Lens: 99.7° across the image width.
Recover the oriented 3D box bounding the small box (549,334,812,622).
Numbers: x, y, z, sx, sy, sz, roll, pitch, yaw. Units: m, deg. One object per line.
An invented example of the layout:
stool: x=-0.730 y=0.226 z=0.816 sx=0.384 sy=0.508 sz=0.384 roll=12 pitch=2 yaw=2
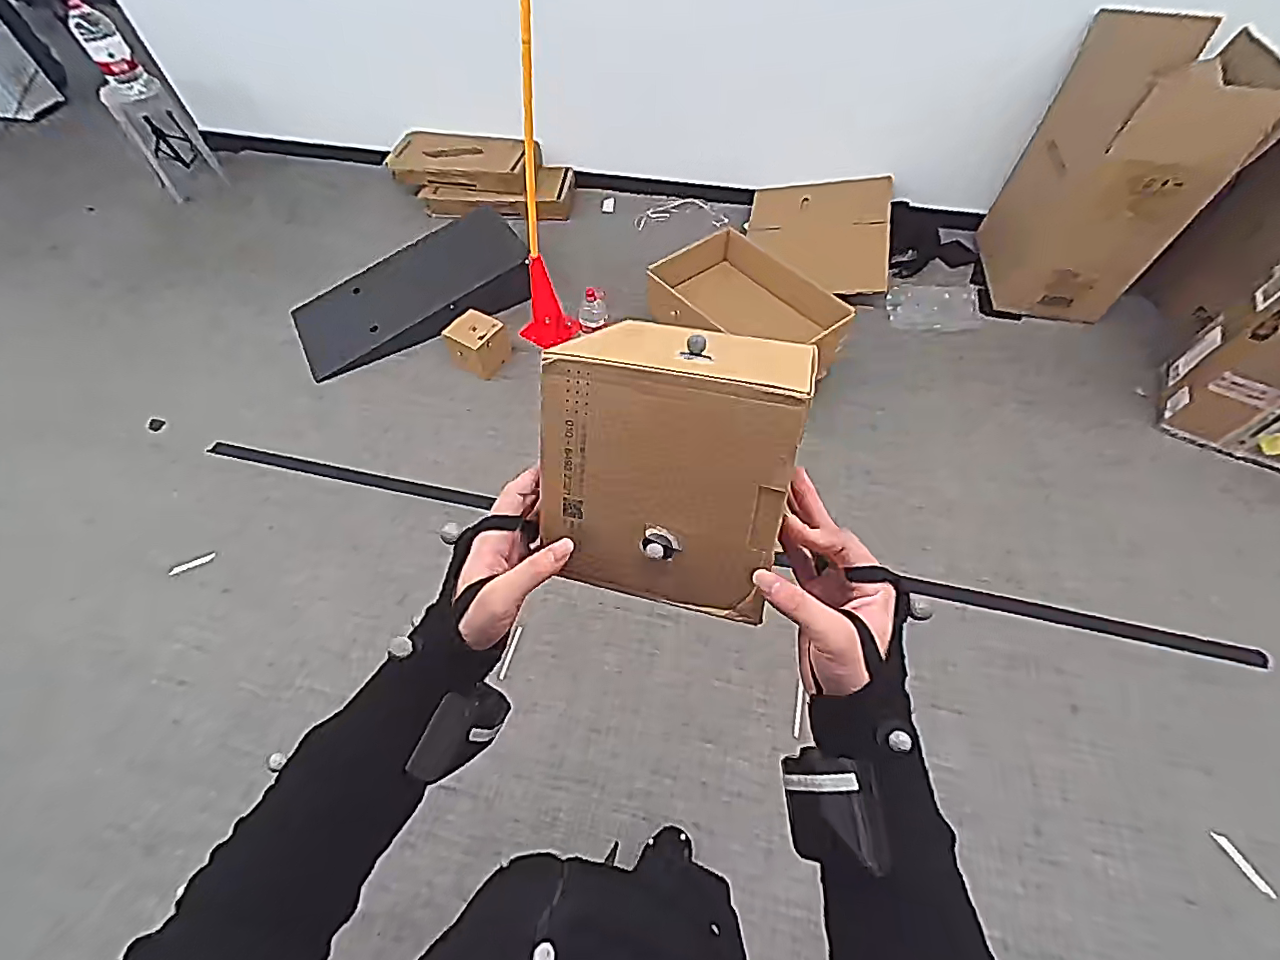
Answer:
small box: x=0.036 y=-0.018 z=0.438 sx=0.176 sy=0.168 sz=0.179 roll=12 pitch=24 yaw=12
